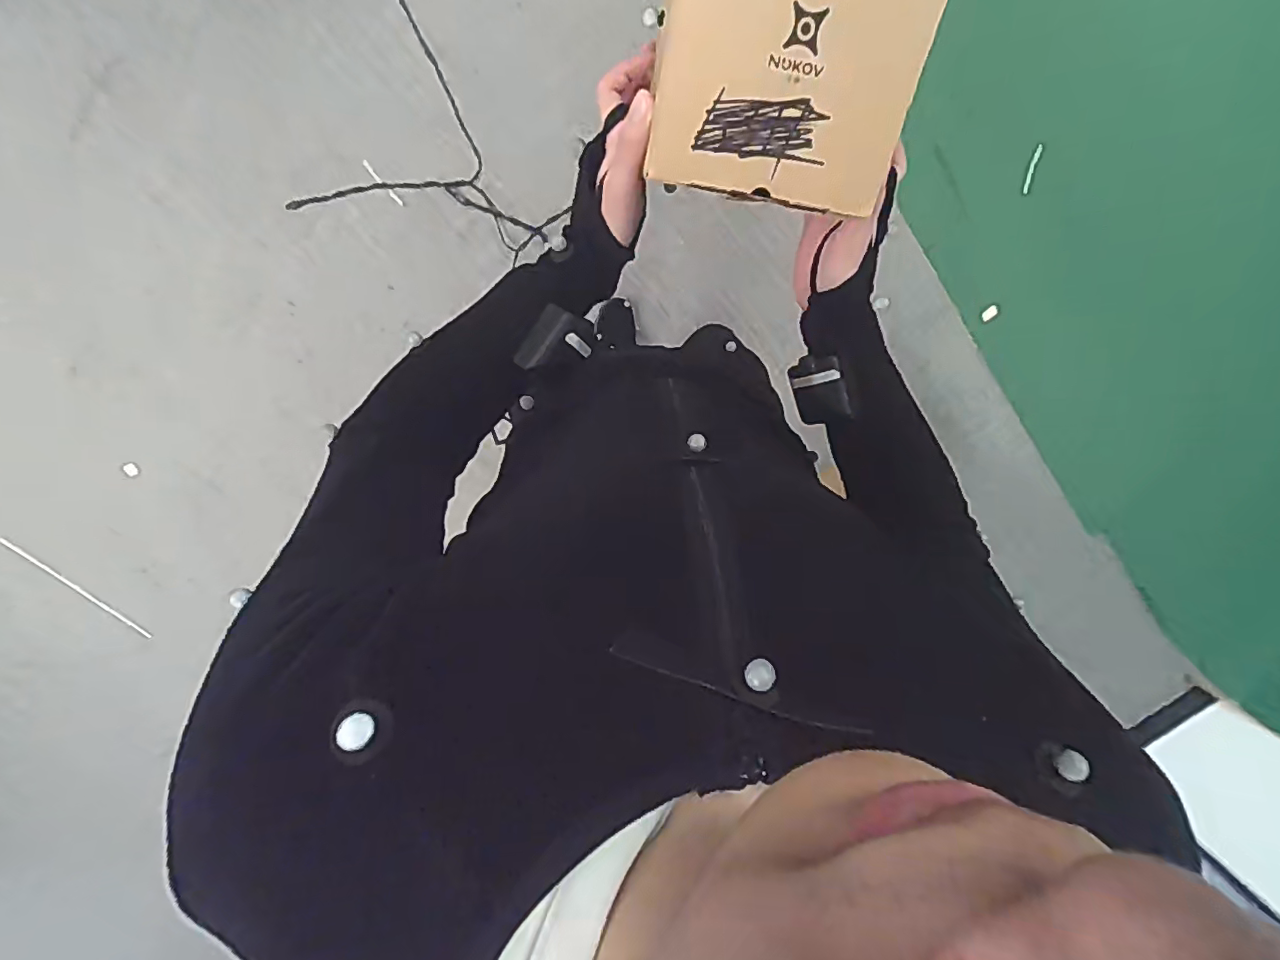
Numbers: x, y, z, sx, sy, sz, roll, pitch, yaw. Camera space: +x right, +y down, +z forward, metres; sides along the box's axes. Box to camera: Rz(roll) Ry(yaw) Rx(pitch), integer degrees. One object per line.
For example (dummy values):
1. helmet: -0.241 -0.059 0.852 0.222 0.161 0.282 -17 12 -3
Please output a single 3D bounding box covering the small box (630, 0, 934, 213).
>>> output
1. small box: 0.086 -0.311 0.393 0.168 0.176 0.179 6 121 -7
